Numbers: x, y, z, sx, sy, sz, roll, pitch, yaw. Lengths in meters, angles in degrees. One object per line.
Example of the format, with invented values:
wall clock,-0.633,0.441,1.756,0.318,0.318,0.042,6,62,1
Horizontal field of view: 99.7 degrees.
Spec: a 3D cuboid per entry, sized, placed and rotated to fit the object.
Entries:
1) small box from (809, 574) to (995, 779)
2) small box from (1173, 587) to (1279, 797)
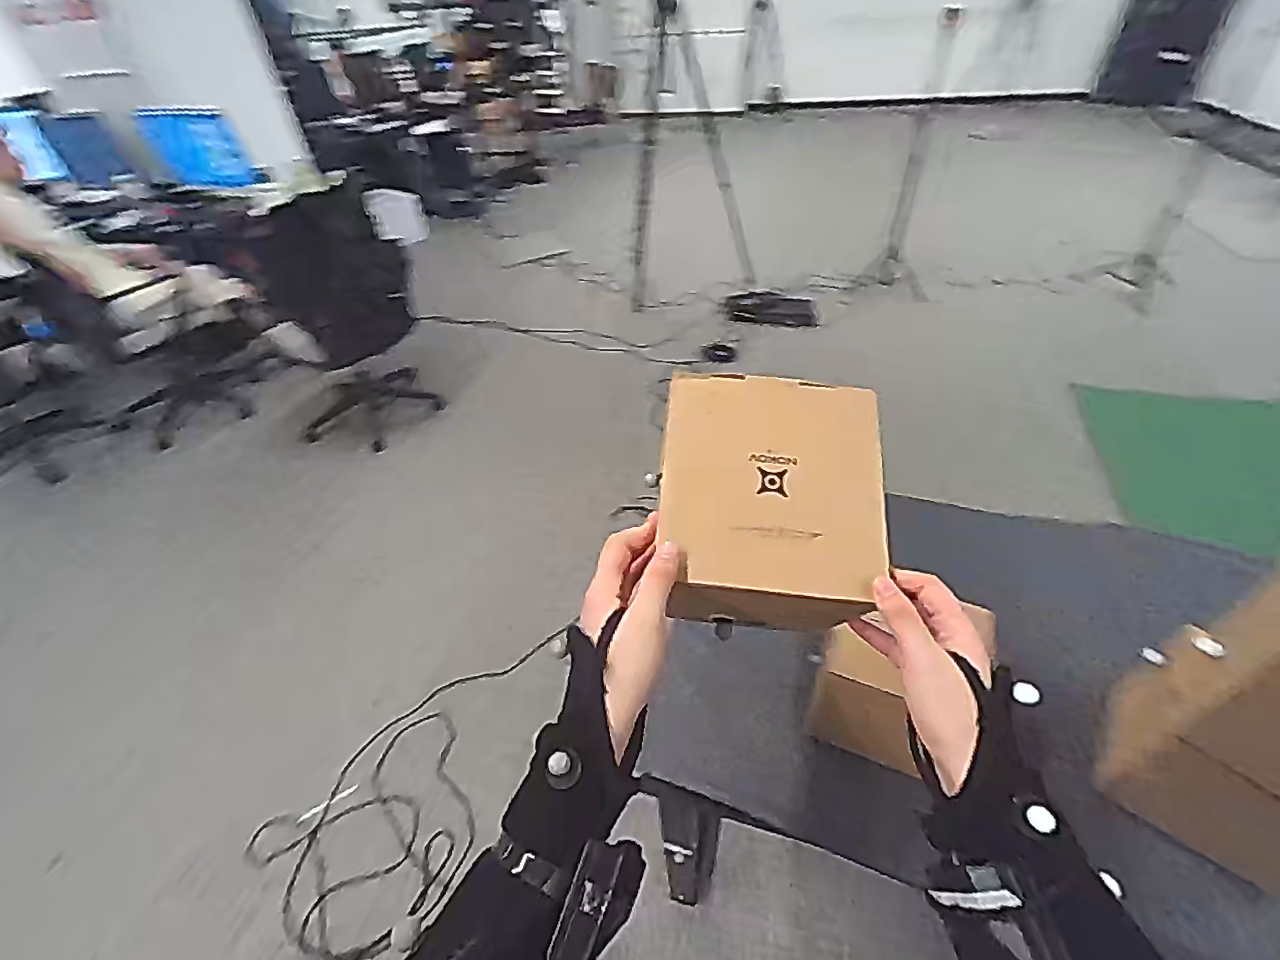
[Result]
small box,0.334,0.257,0.705,0.179,0.176,0.168,14,45,21
small box,0.655,0.202,0.487,0.168,0.176,0.179,-32,48,-28
